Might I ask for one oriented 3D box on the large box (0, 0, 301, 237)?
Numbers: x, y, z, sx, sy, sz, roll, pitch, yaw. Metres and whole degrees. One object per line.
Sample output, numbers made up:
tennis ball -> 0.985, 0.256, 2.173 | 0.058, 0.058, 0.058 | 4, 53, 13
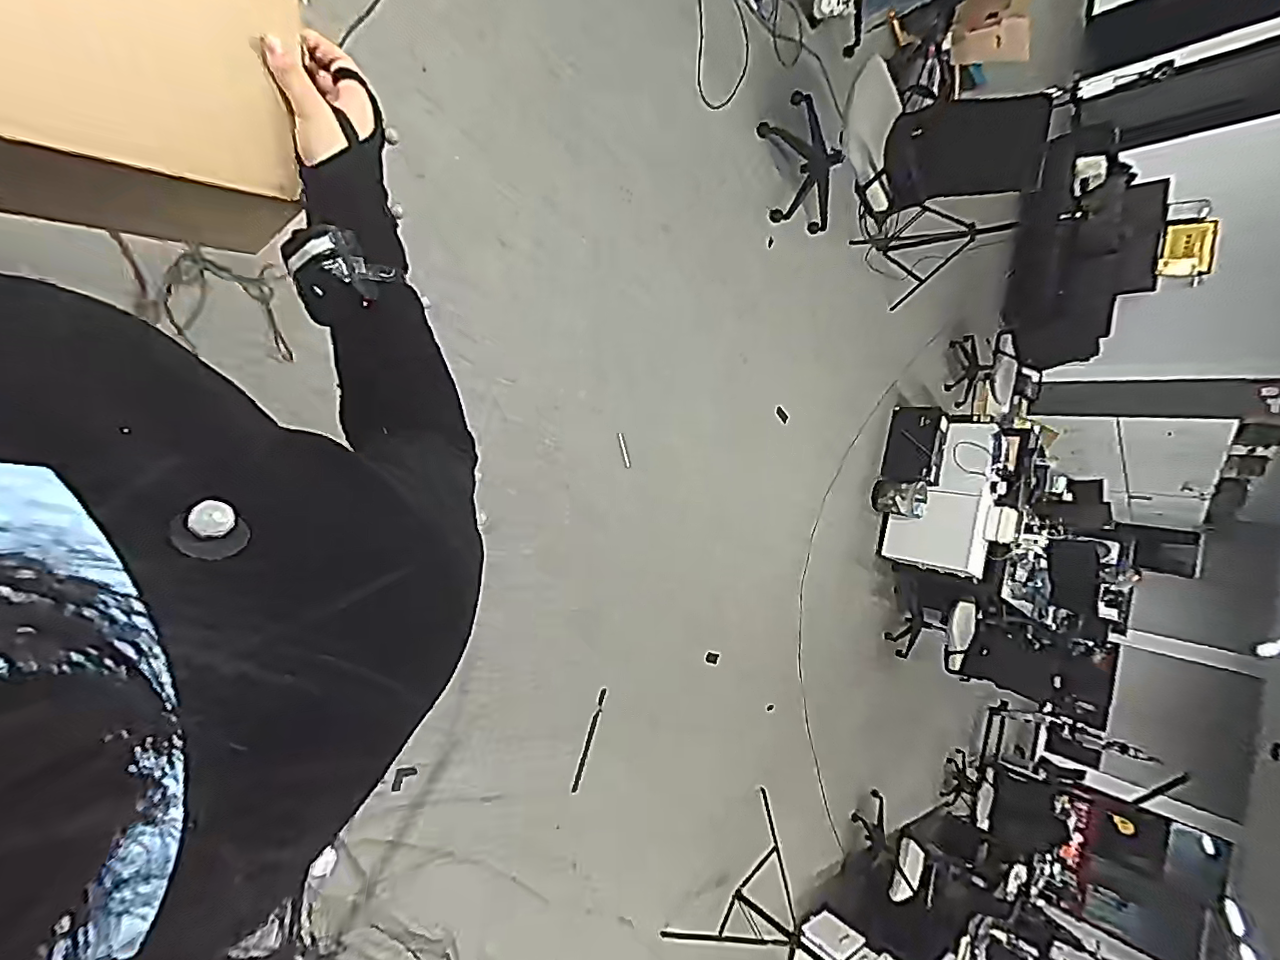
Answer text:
large box -> -0.514, -0.396, 0.395 | 0.408, 0.320, 0.320 | -5, 103, -41
